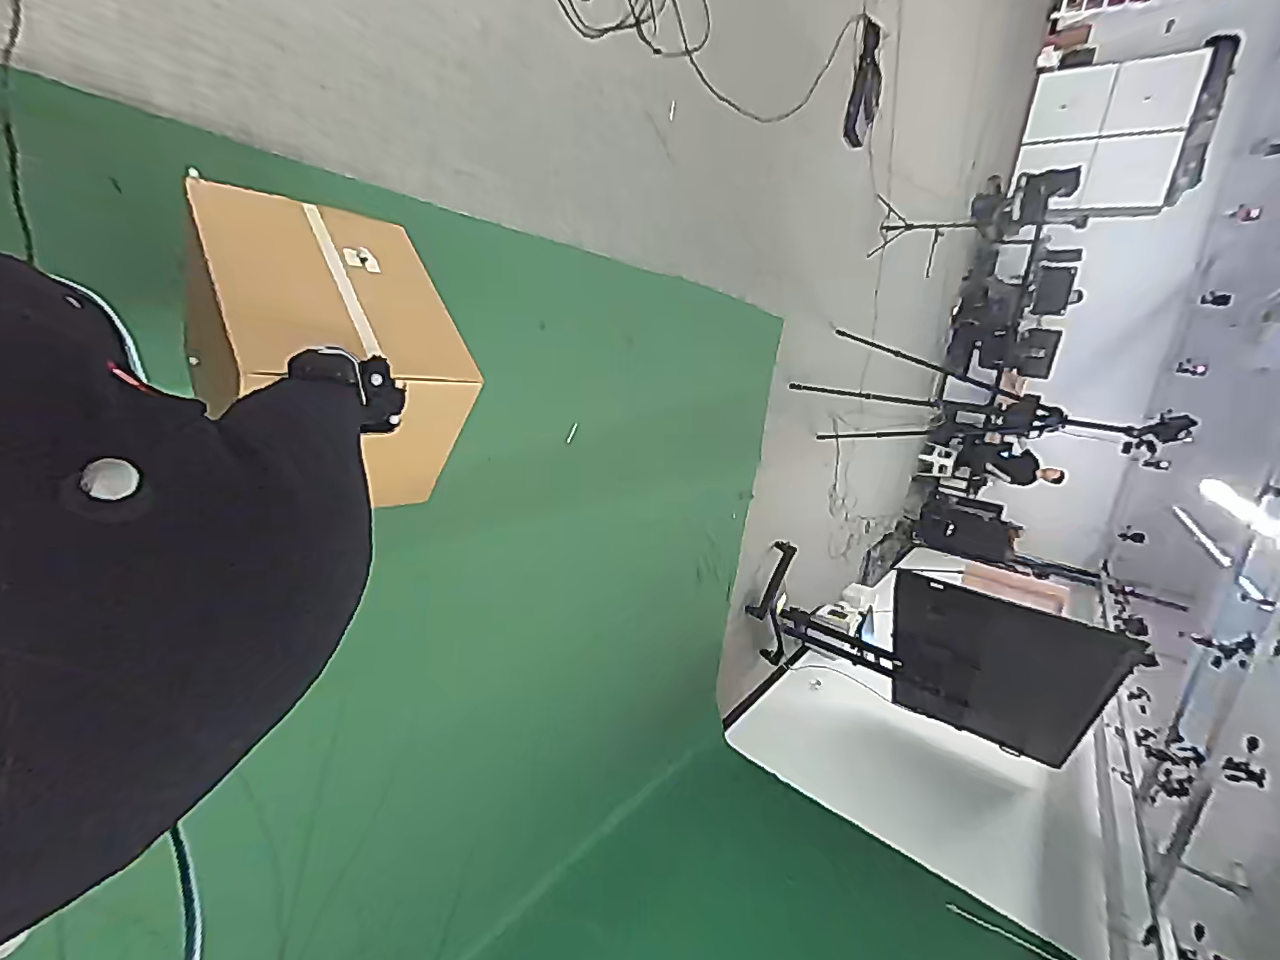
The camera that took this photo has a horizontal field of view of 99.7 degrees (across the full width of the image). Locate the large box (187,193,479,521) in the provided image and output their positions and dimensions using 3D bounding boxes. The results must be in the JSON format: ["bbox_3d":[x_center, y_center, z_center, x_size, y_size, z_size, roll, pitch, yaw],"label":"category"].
[{"bbox_3d":[-0.533,-0.194,0.915,0.320,0.408,0.320,-8,147,-45],"label":"large box"}]
